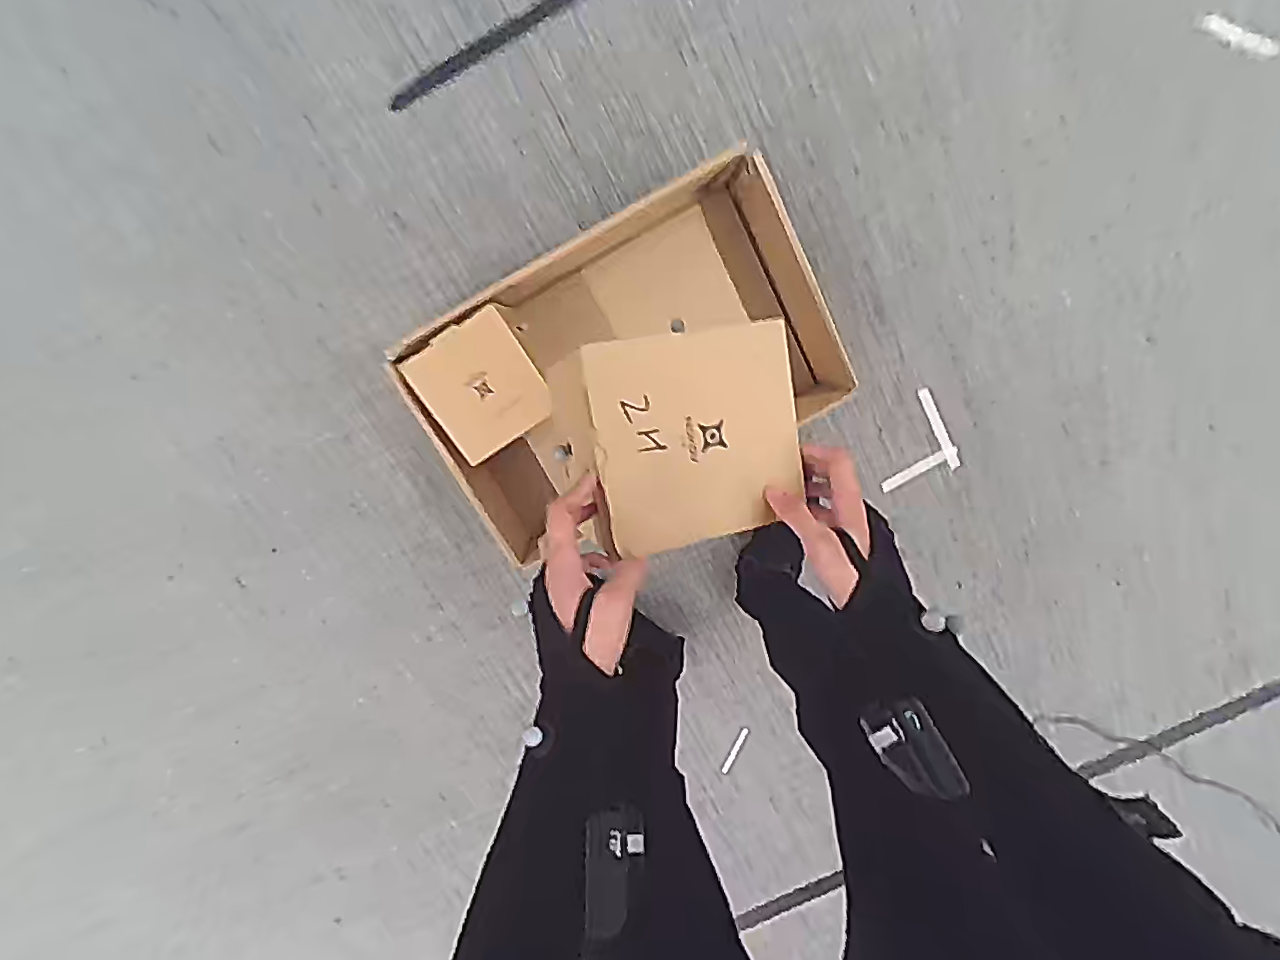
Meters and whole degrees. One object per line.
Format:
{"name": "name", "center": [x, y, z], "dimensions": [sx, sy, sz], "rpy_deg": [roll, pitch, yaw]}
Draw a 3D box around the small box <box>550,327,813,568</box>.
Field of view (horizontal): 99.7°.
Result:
{"name": "small box", "center": [0.027, -0.035, 0.491], "dimensions": [0.179, 0.176, 0.168], "rpy_deg": [-11, 97, -17]}
